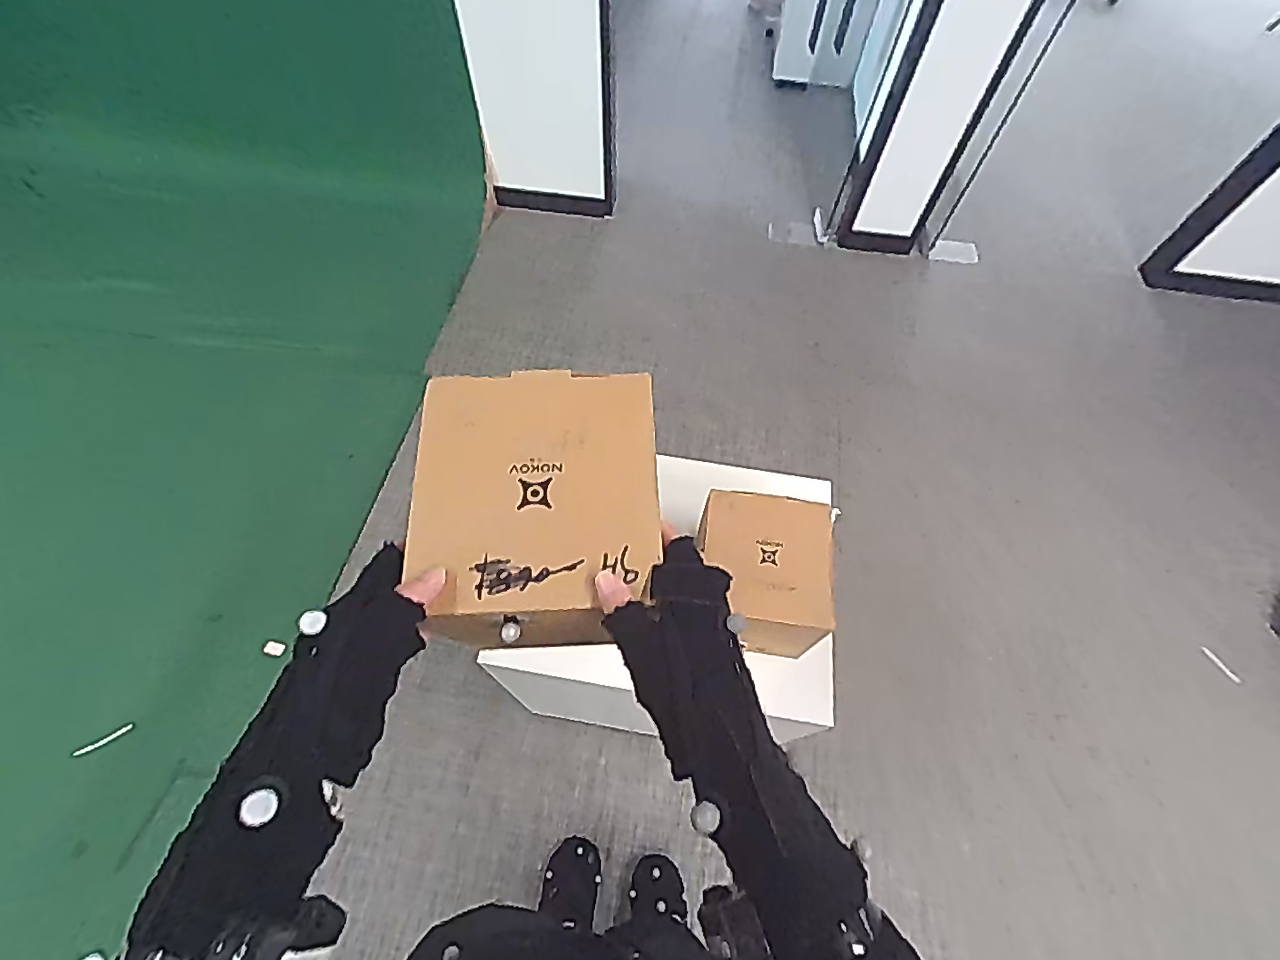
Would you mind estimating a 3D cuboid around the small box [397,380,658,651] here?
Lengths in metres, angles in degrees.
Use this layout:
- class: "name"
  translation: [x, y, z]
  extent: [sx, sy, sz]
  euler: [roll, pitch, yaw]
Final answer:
- class: "small box"
  translation: [-0.075, 0.037, 0.444]
  extent: [0.168, 0.176, 0.179]
  euler: [-2, 67, -2]

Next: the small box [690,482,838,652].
- class: "small box"
  translation: [0.162, 0.125, 0.750]
  extent: [0.168, 0.176, 0.179]
  euler: [7, 62, 3]
